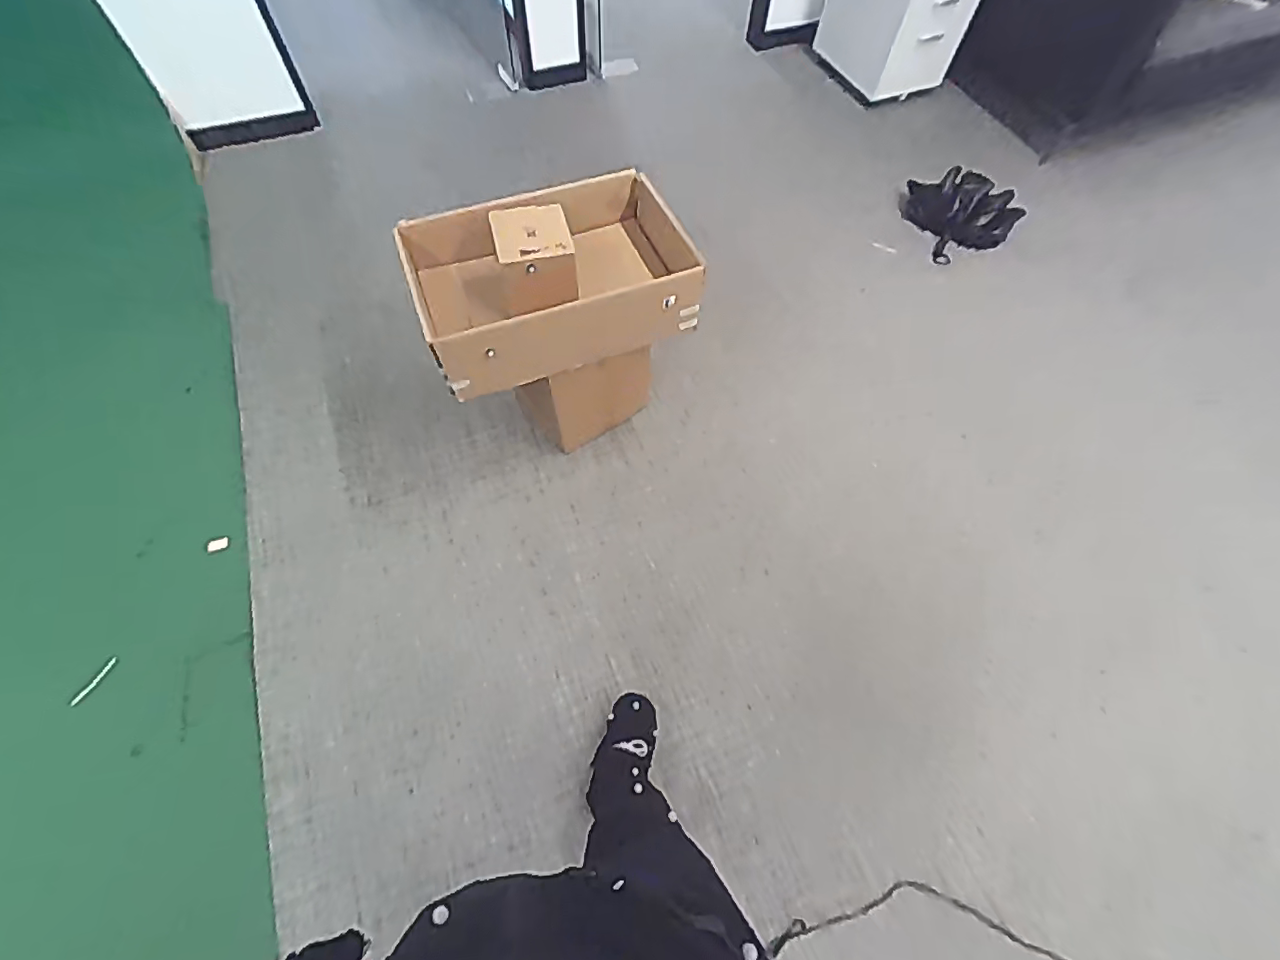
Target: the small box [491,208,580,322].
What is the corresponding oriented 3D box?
[{"bbox_3d":[-0.241,-0.498,1.259,0.168,0.176,0.179,-13,61,-8],"label":"small box"}]
